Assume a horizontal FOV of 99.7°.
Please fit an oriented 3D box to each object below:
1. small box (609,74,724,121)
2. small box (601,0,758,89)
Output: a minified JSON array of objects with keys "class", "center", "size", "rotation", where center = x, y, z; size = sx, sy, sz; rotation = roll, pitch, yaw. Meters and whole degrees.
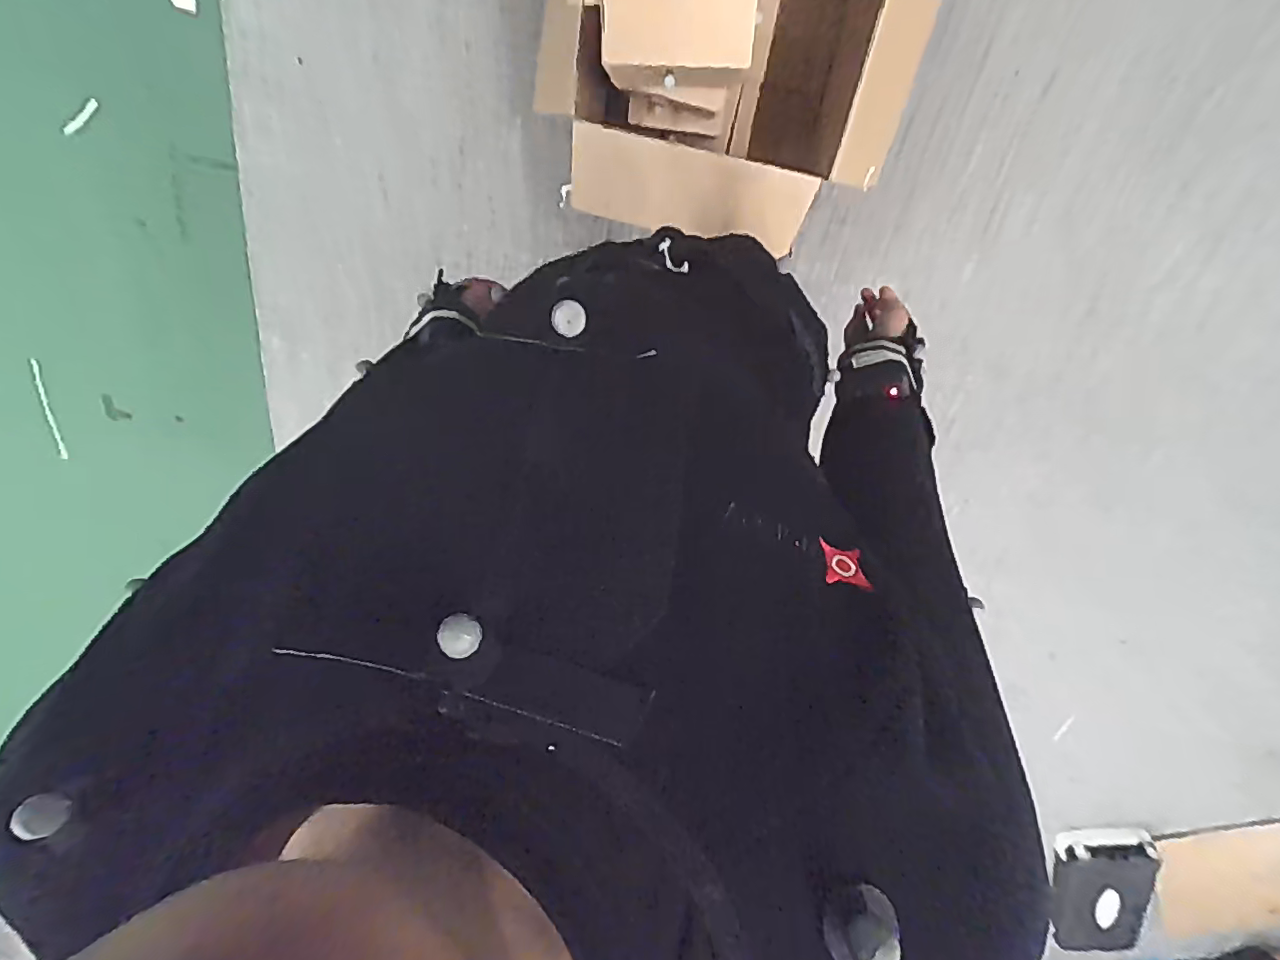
[{"class":"small box","center":[0.057,-0.661,0.803],"size":[0.168,0.176,0.179],"rotation":[14,120,-5]},{"class":"small box","center":[0.048,-0.589,0.658],"size":[0.179,0.176,0.168],"rotation":[4,120,2]}]
